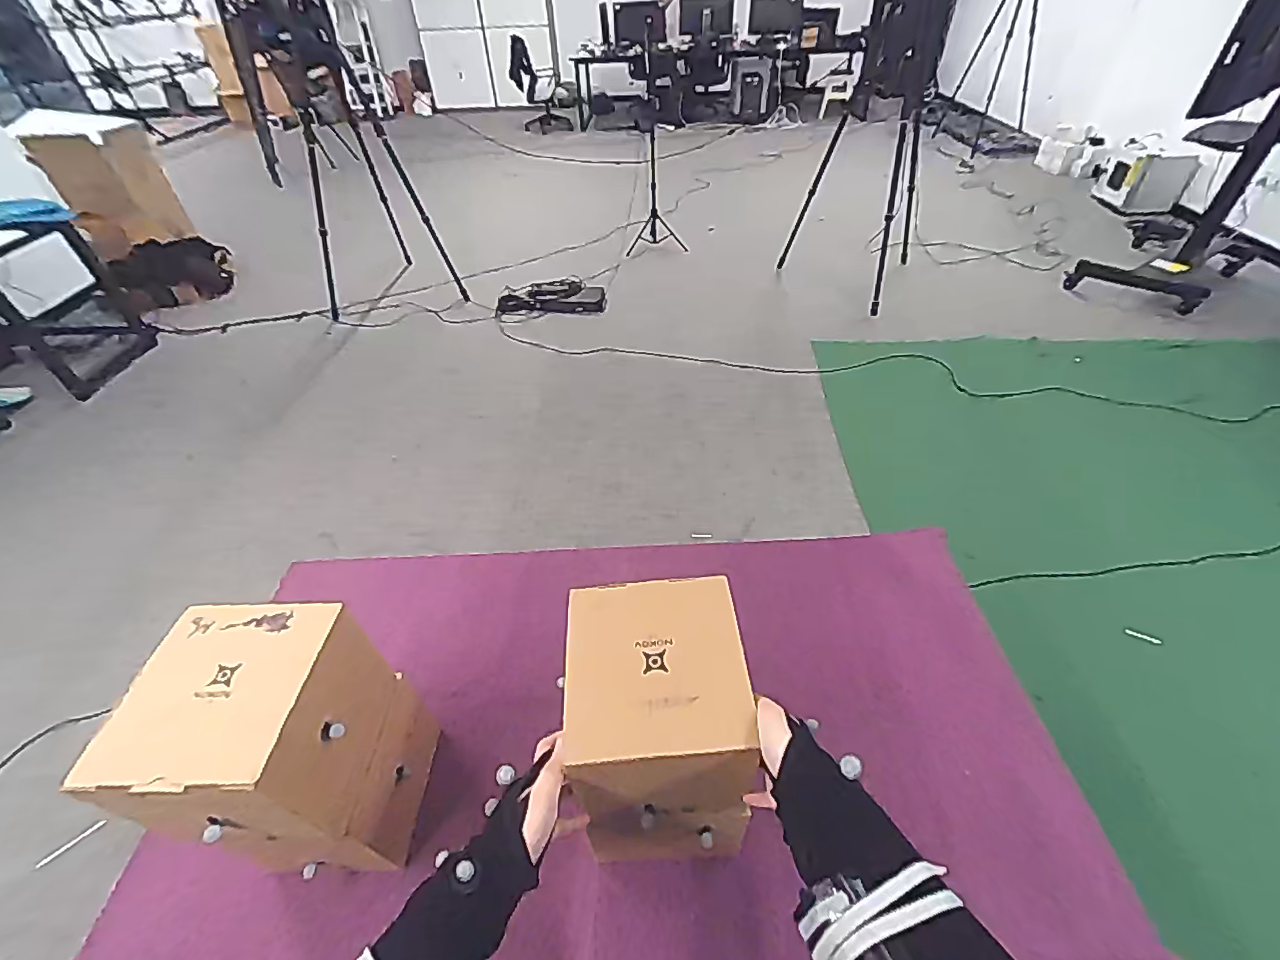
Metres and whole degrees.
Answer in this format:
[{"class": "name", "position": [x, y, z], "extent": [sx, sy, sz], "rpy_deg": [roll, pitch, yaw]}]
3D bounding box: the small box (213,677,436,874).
[{"class": "small box", "position": [-0.372, 0.366, 0.672], "extent": [0.168, 0.176, 0.179], "rpy_deg": [-2, 44, 2]}]

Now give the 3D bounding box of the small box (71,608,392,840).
[{"class": "small box", "position": [-0.382, 0.252, 0.554], "extent": [0.168, 0.176, 0.179], "rpy_deg": [-1, 44, 2]}]

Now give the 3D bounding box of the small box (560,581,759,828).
[{"class": "small box", "position": [0.017, 0.228, 0.553], "extent": [0.168, 0.176, 0.179], "rpy_deg": [-5, 43, 0]}]

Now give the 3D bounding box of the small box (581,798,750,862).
[{"class": "small box", "position": [0.027, 0.351, 0.663], "extent": [0.179, 0.176, 0.168], "rpy_deg": [-3, 43, 1]}]
